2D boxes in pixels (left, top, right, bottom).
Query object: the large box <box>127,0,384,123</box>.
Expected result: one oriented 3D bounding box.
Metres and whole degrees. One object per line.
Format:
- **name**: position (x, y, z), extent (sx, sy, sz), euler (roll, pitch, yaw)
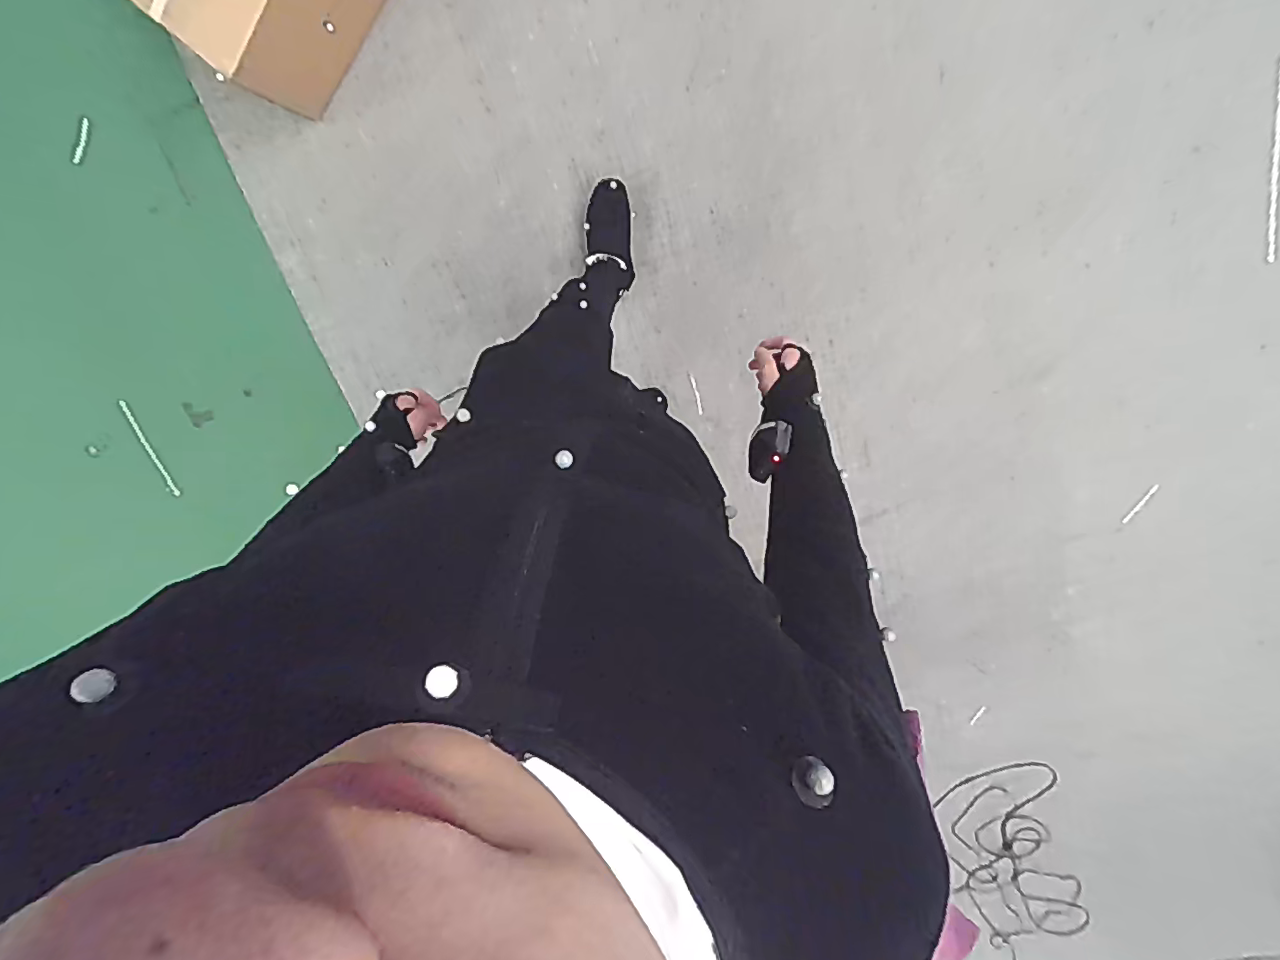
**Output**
- **large box**: position (-0.797, -1.070, 1.130), extent (0.320, 0.320, 0.408), euler (39, 107, -11)
